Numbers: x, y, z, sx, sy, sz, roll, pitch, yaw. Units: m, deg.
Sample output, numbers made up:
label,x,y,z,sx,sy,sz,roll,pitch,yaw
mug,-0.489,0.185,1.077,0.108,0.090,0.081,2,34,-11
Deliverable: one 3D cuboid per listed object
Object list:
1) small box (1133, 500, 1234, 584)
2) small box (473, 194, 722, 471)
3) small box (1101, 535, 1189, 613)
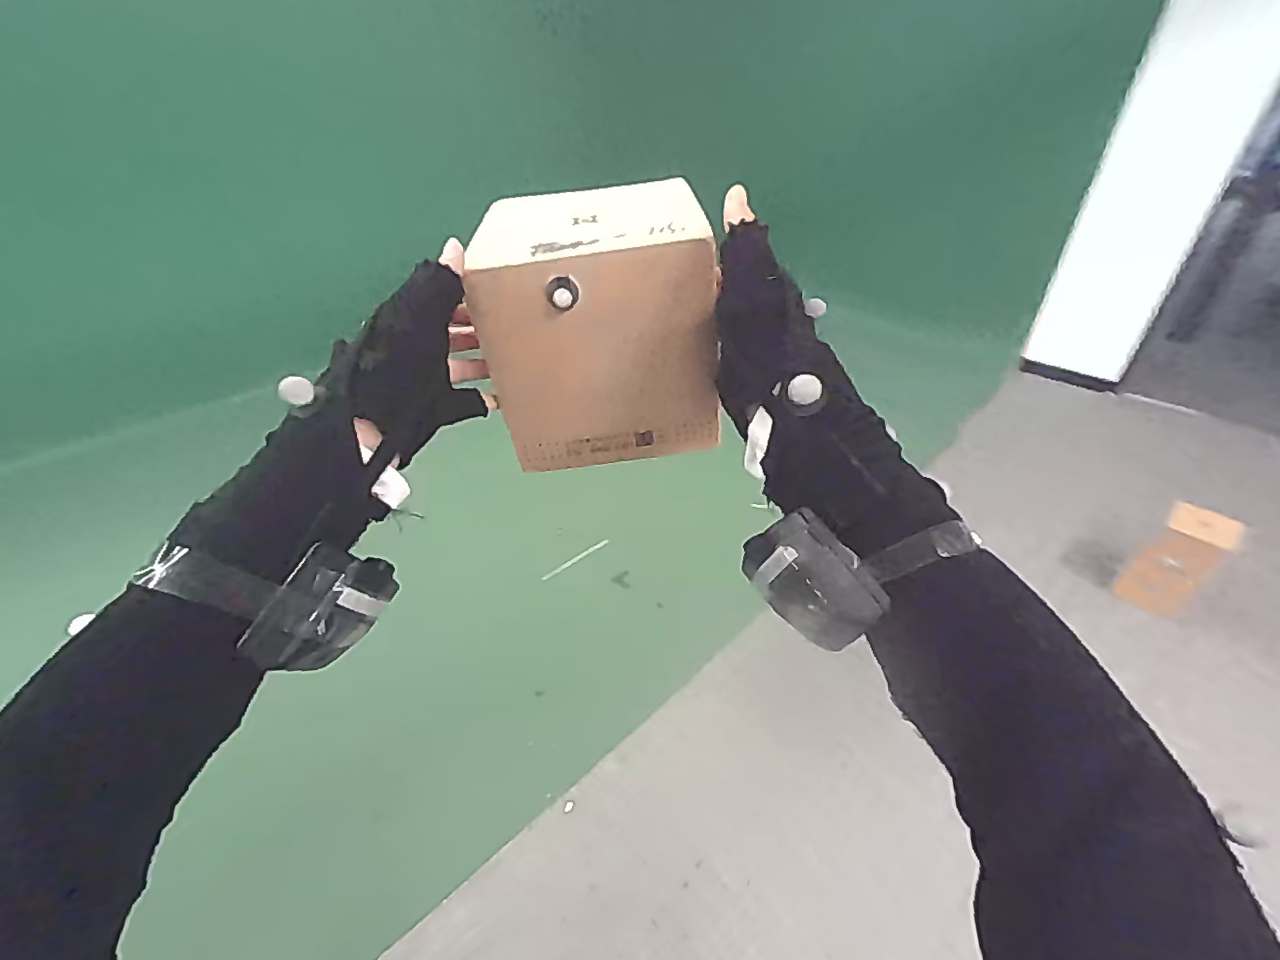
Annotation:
label,x,y,z,sx,sy,sz,roll,pitch,yaw
small box,1.739,0.198,1.736,0.179,0.176,0.168,-30,43,-31
small box,-0.024,-0.129,0.466,0.168,0.176,0.179,-7,39,3
small box,1.728,0.325,1.836,0.168,0.176,0.179,-28,43,-31
